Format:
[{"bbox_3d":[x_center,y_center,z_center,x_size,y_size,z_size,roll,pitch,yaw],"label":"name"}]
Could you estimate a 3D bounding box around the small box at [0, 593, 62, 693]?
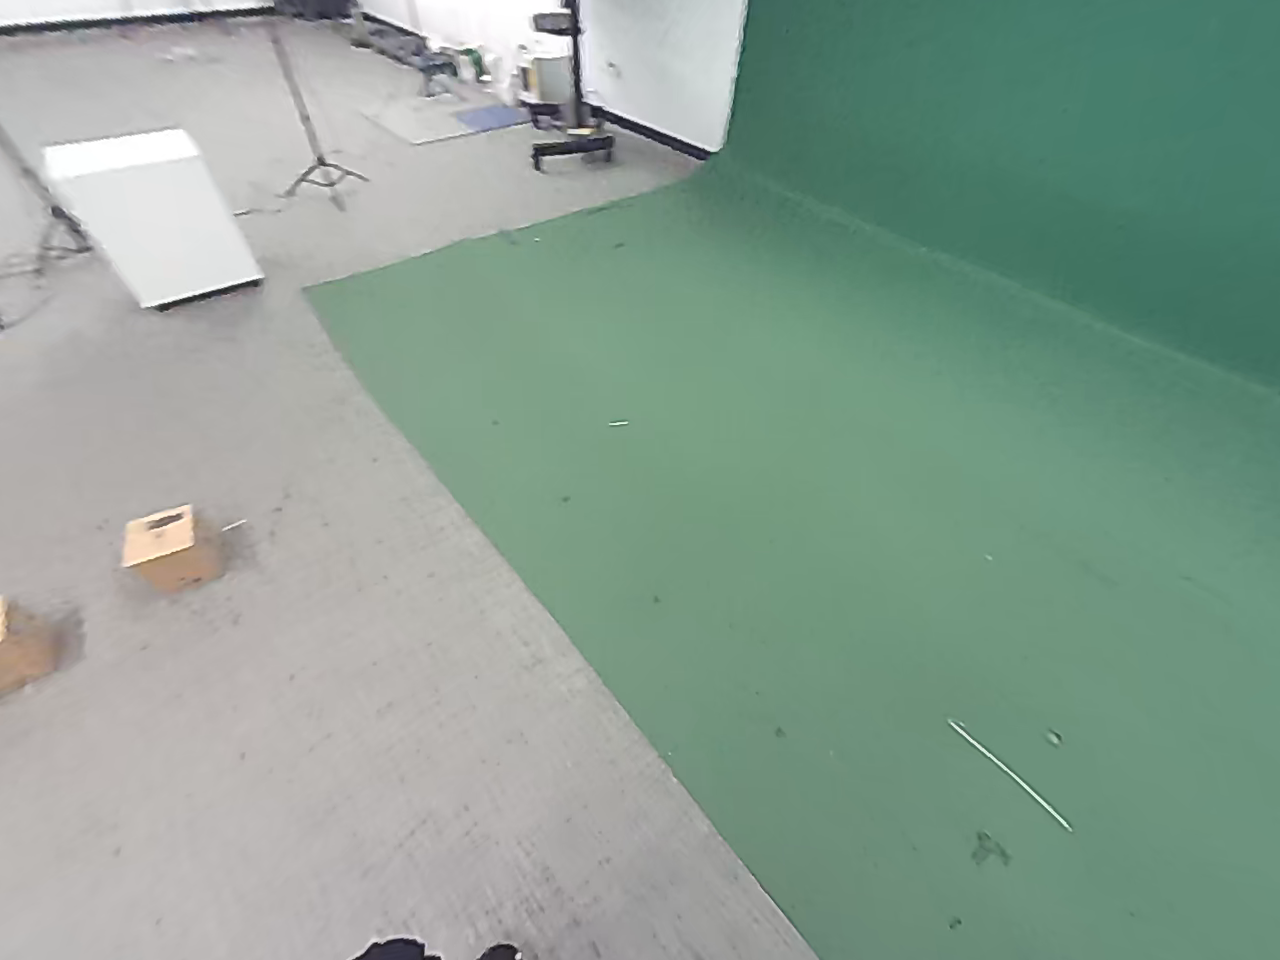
[{"bbox_3d":[-1.668,0.435,1.409,0.168,0.176,0.179,-28,55,-24],"label":"small box"}]
